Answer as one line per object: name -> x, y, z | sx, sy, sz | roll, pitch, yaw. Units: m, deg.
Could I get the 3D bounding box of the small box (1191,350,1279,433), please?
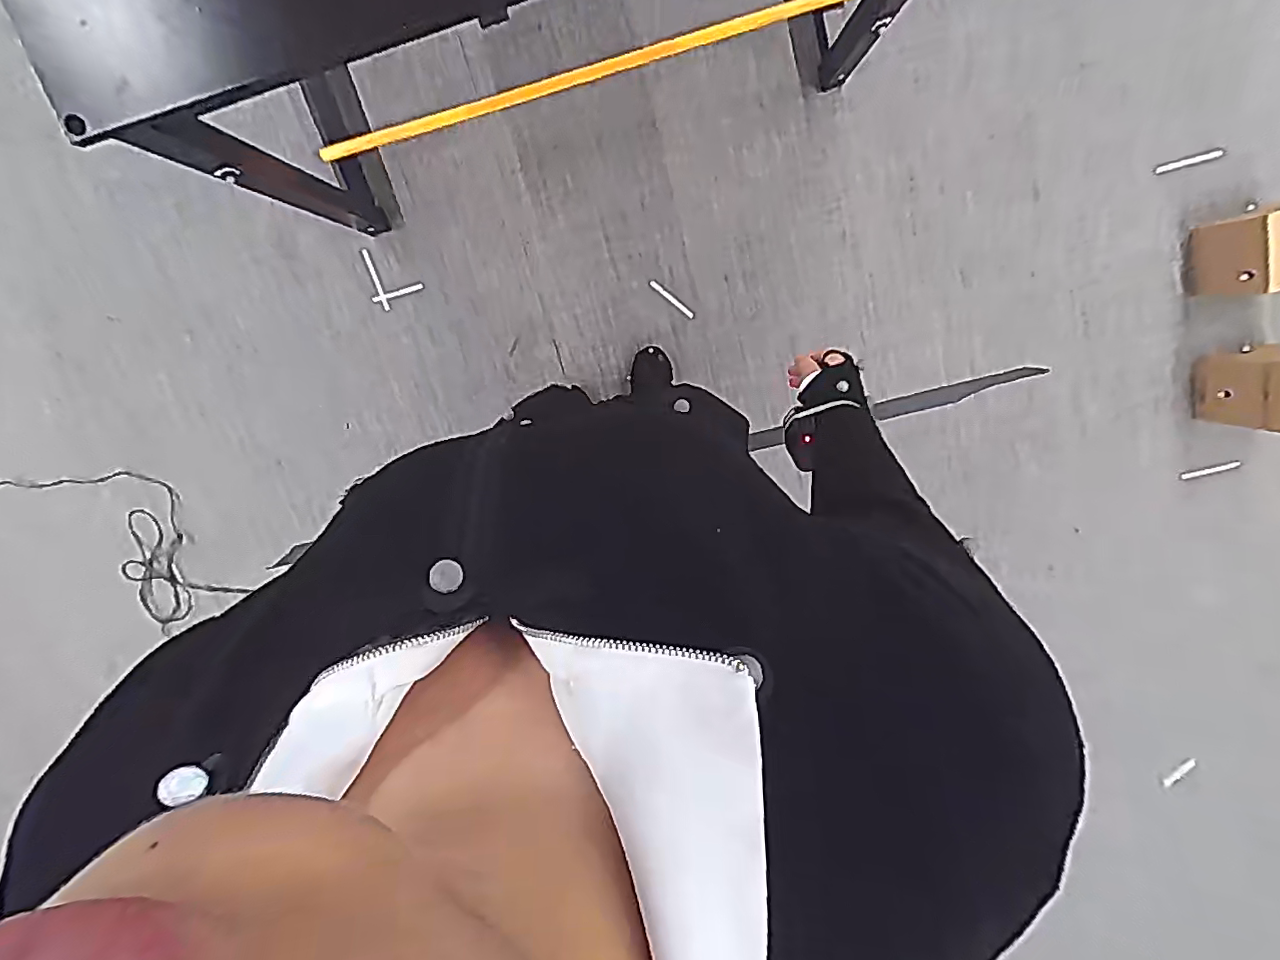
small box -> 1.546, -0.225, 1.354 | 0.179, 0.176, 0.168 | -13, 104, 4

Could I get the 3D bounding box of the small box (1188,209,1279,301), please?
small box -> 1.453, -0.530, 1.271 | 0.168, 0.176, 0.179 | -17, 104, 4

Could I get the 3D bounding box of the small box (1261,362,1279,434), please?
small box -> 1.544, -0.187, 1.192 | 0.168, 0.176, 0.179 | -15, 105, 4
